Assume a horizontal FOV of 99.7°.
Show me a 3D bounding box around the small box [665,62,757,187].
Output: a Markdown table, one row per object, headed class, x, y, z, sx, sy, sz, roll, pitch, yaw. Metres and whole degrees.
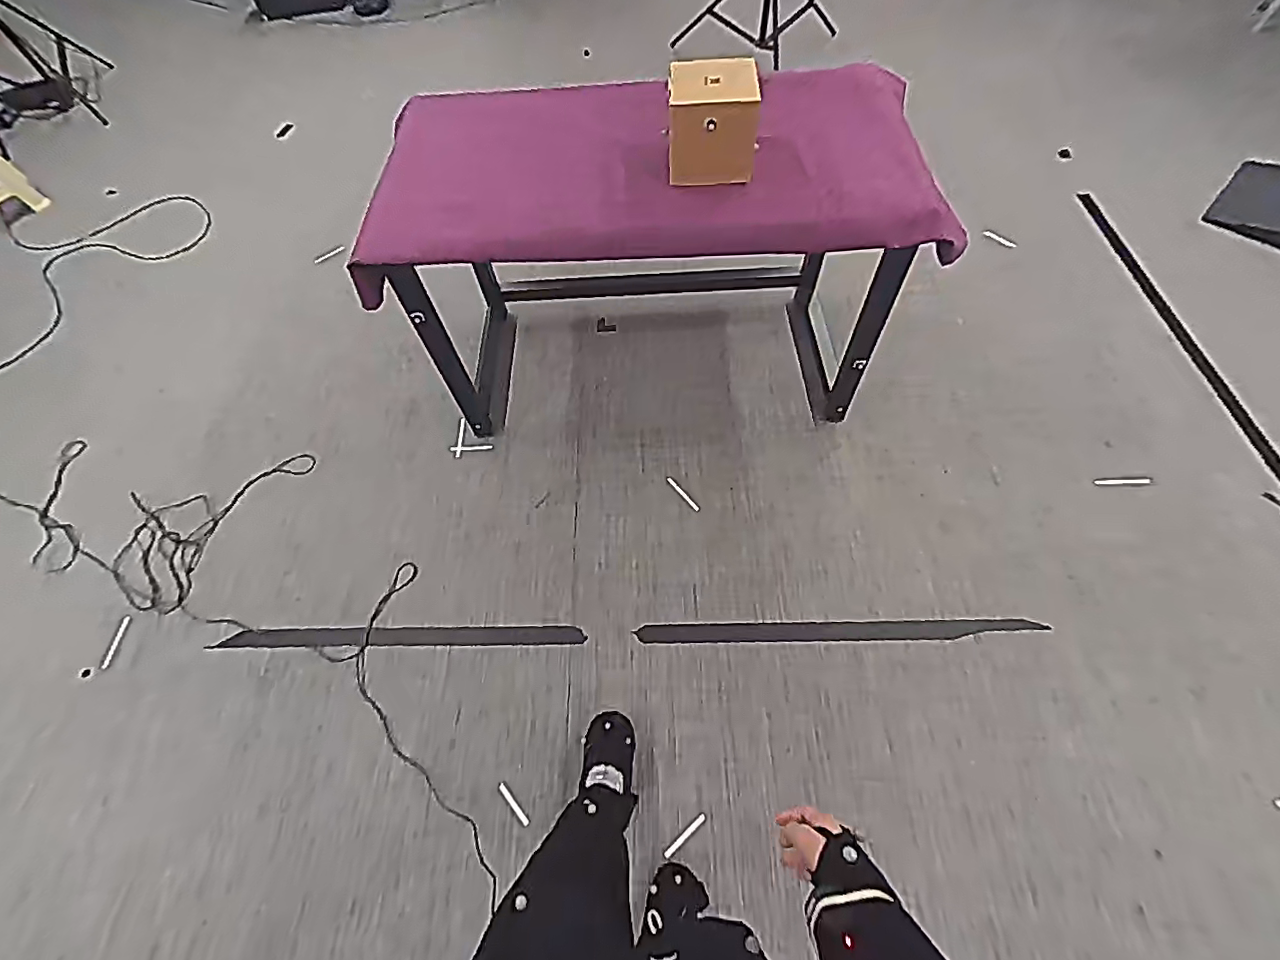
| class | x | y | z | sx | sy | sz | roll | pitch | yaw |
| --- | --- | --- | --- | --- | --- | --- | --- | --- | --- |
| small box | 0.144 | -0.745 | 1.143 | 0.179 | 0.176 | 0.168 | -1 | 61 | 3 |
